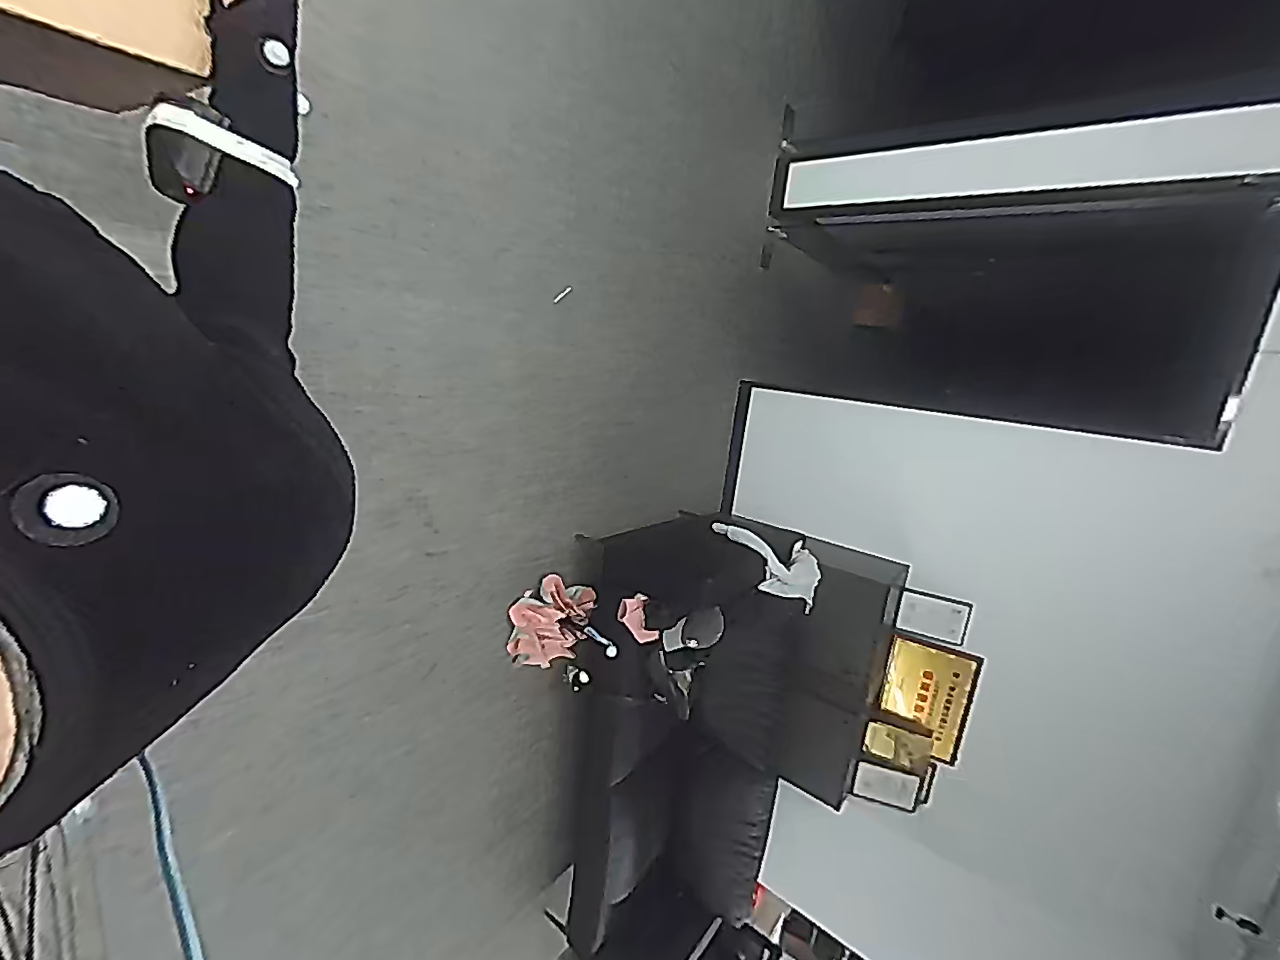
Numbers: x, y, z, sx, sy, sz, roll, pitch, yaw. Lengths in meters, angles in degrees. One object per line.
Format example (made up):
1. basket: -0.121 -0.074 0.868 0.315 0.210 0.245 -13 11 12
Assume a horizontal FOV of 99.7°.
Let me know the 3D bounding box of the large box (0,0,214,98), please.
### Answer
1. large box: -0.538 -0.460 0.294 0.408 0.320 0.320 -15 119 -50
